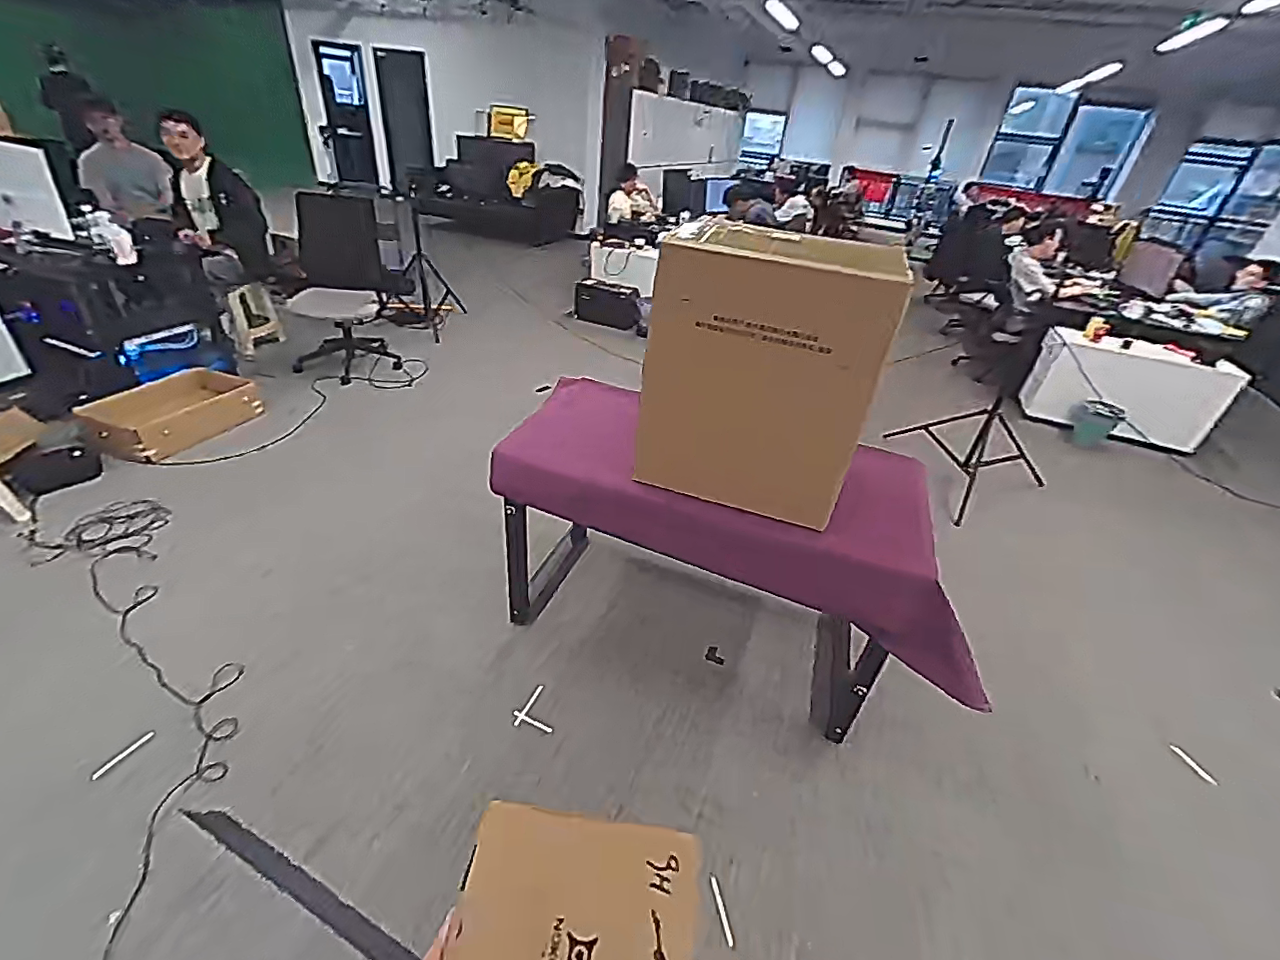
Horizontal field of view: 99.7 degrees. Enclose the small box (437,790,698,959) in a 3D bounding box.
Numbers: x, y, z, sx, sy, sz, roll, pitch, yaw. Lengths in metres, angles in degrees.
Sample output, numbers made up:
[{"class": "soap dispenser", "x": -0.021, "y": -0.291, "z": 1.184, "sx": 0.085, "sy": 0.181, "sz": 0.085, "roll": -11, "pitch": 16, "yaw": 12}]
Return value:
[{"class": "small box", "x": -0.049, "y": 0.376, "z": 0.442, "sx": 0.179, "sy": 0.176, "sz": 0.168, "roll": 5, "pitch": 50, "yaw": 6}]
